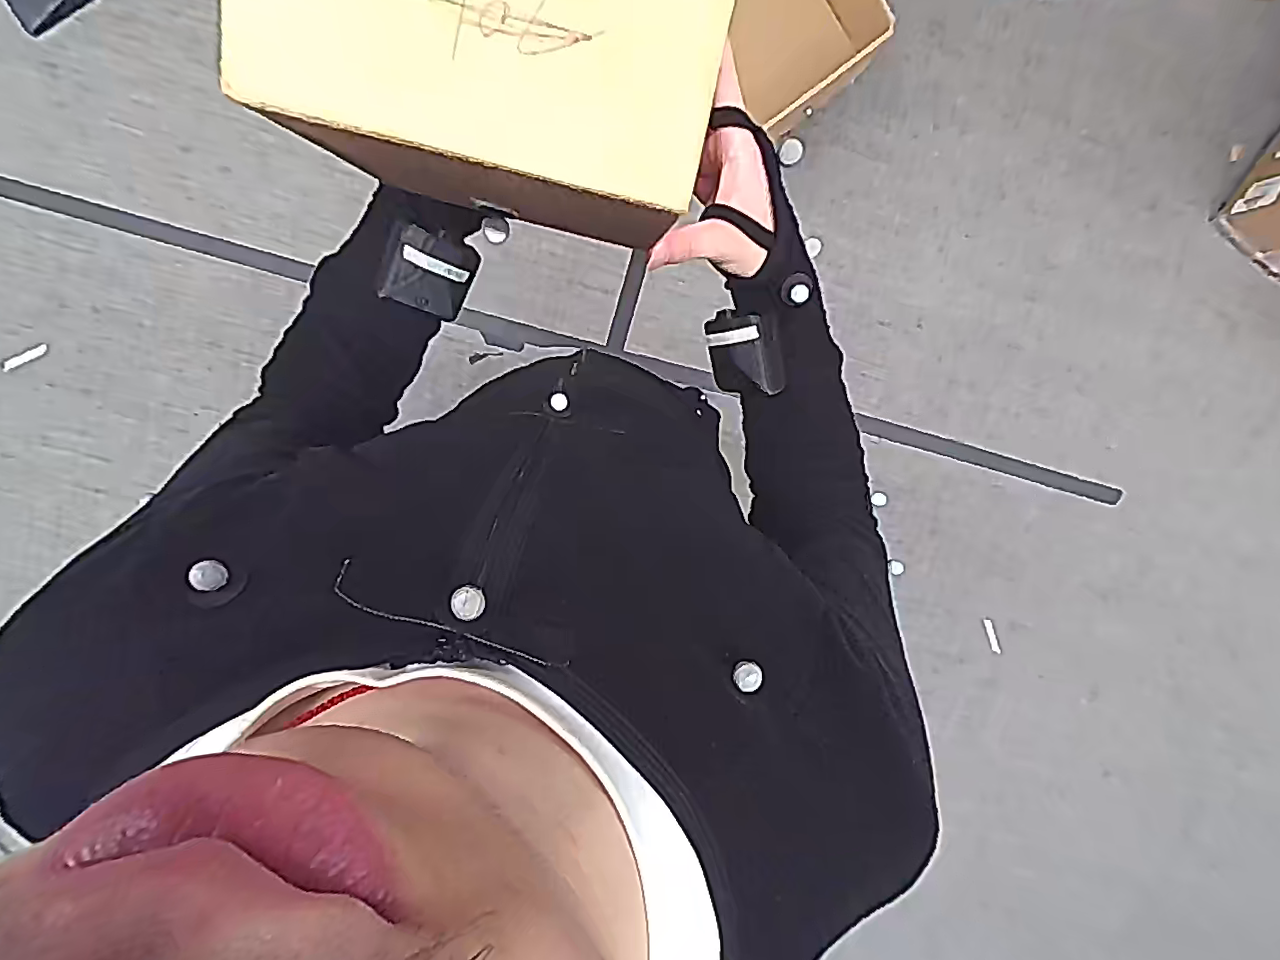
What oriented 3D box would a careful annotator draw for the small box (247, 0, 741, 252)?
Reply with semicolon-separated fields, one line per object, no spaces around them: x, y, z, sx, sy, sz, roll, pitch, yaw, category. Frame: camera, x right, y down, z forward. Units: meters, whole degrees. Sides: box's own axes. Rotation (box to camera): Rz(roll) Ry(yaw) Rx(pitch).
-0.047;-0.224;0.257;0.168;0.176;0.179;12;107;-8;small box
